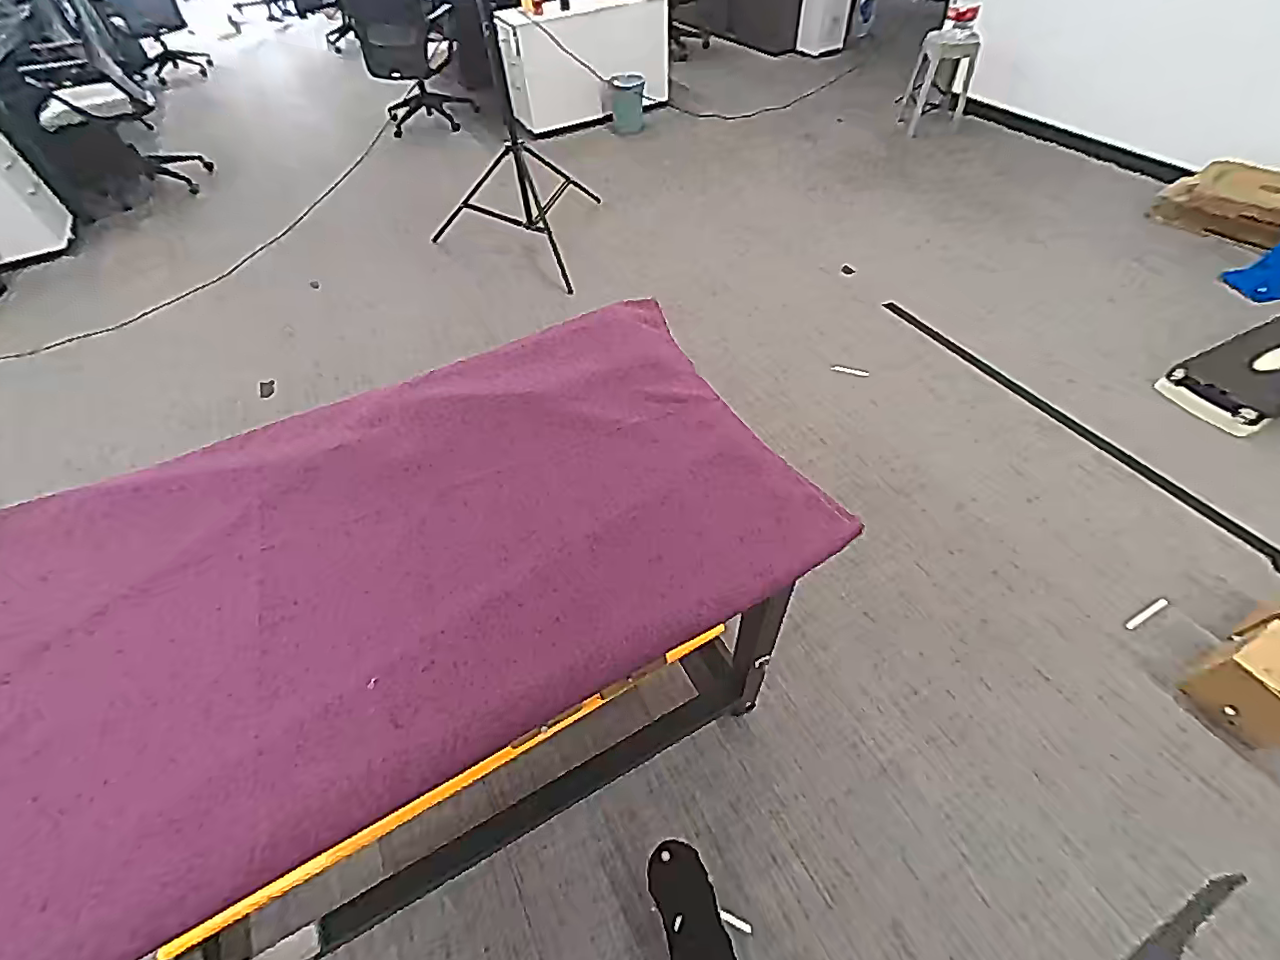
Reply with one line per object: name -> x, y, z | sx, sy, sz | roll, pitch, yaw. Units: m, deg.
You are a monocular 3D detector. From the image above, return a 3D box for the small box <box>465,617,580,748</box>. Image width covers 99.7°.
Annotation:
small box -> -0.240, 0.424, 1.128 | 0.168, 0.176, 0.179 | -26, 56, -15

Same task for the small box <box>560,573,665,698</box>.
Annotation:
small box -> -0.058, 0.341, 1.181 | 0.168, 0.176, 0.179 | -26, 55, -15
